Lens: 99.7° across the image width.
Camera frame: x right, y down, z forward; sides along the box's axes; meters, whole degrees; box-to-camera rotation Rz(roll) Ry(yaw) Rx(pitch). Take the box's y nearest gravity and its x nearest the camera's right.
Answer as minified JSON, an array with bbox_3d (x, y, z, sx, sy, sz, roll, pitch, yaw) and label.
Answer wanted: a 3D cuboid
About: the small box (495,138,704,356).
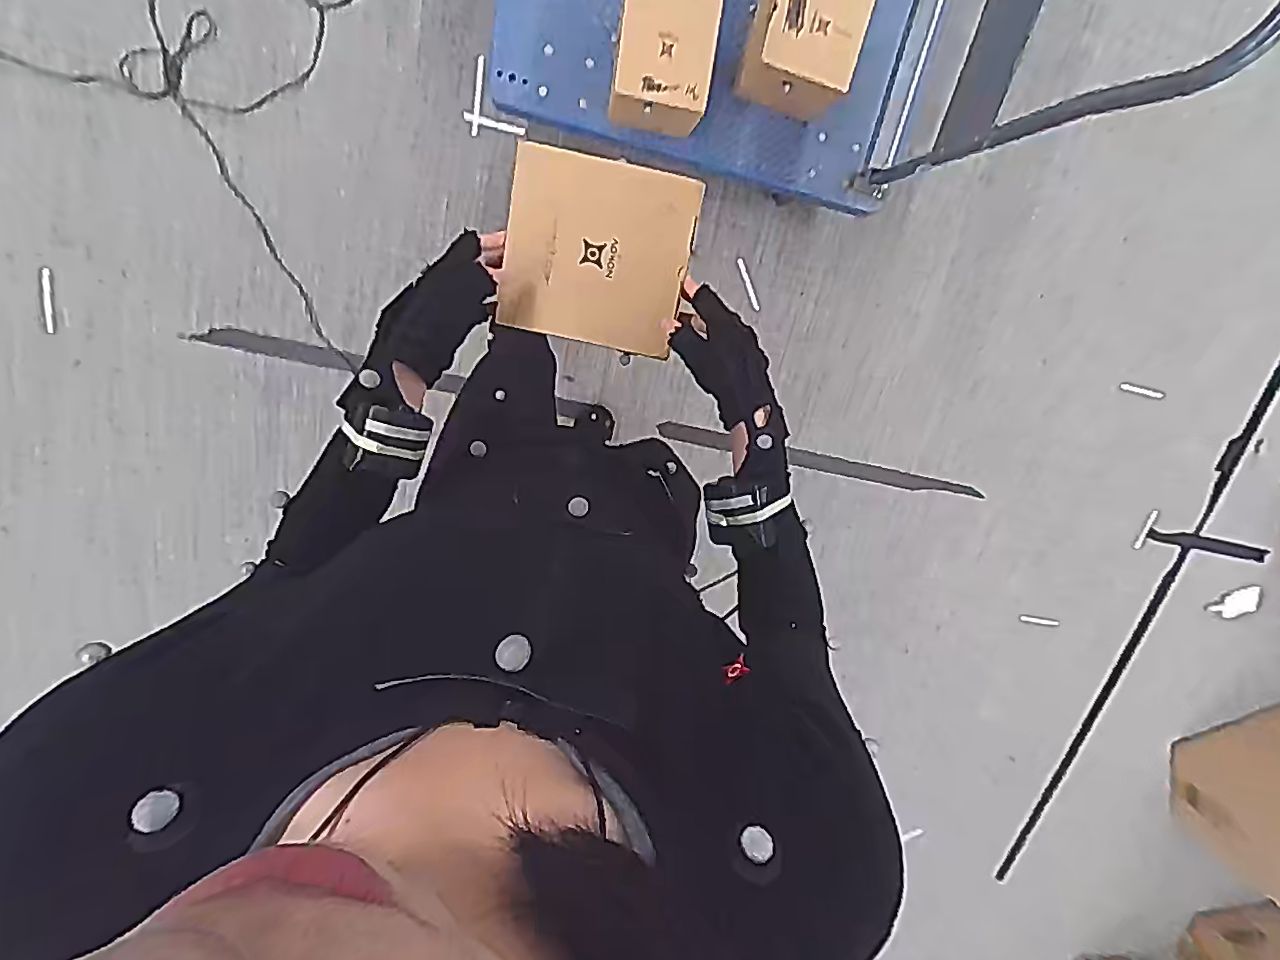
[{"bbox_3d":[-0.040,-0.235,0.592,0.179,0.176,0.168,12,101,-2],"label":"small box"}]

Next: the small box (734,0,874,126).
[{"bbox_3d":[0.295,-0.805,1.021,0.179,0.176,0.168,12,106,-12],"label":"small box"}]

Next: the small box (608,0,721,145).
[{"bbox_3d":[0.036,-0.757,1.002,0.168,0.176,0.179,7,106,-9],"label":"small box"}]
